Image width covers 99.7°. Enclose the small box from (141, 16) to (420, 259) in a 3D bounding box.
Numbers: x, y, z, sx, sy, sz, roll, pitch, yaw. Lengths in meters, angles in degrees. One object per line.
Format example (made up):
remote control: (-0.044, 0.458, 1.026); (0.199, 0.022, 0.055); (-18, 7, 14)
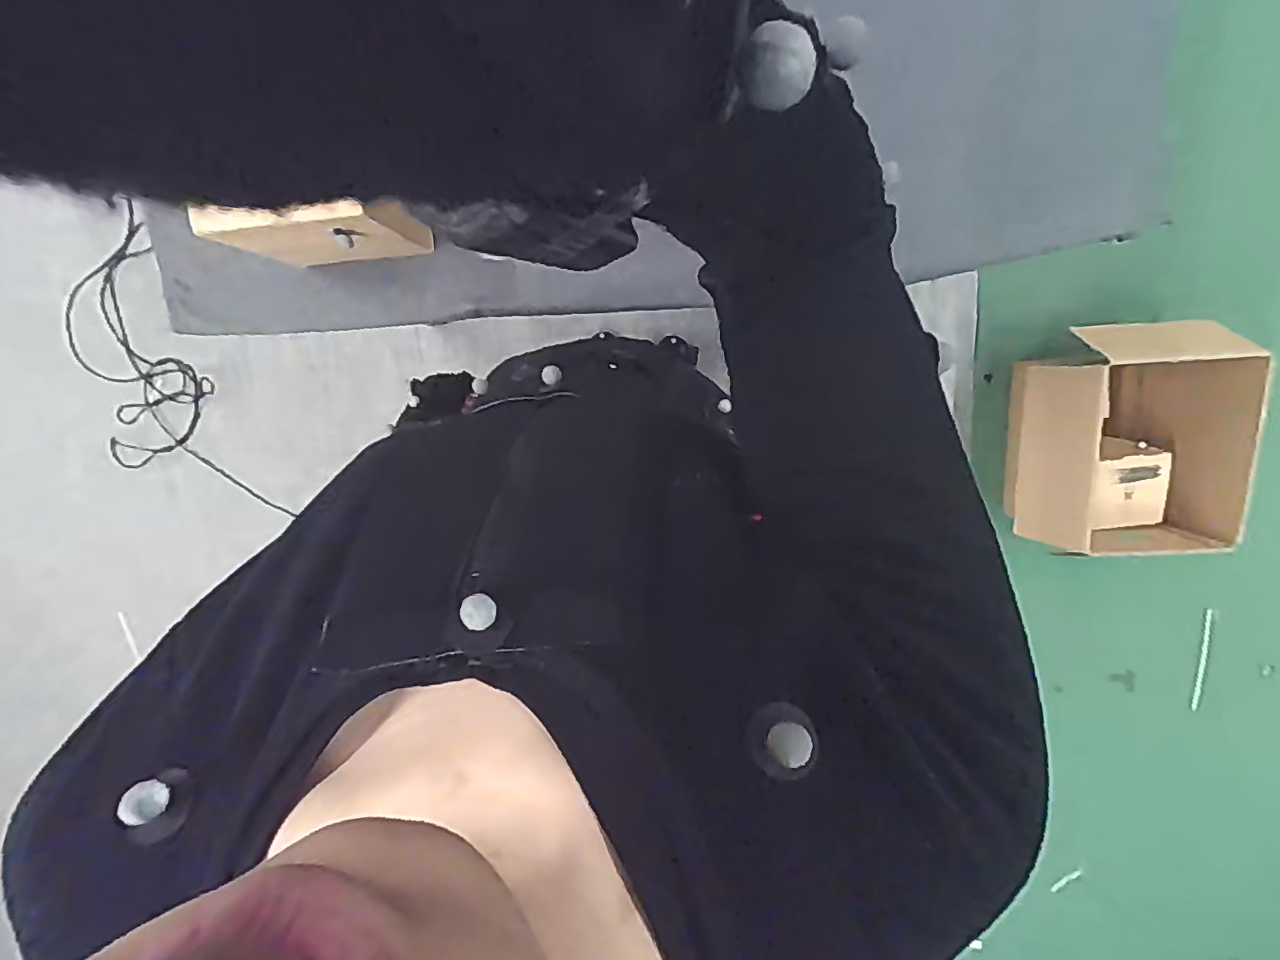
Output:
small box: (-0.354, -0.343, 0.577); (0.179, 0.176, 0.168); (-5, 102, 3)
